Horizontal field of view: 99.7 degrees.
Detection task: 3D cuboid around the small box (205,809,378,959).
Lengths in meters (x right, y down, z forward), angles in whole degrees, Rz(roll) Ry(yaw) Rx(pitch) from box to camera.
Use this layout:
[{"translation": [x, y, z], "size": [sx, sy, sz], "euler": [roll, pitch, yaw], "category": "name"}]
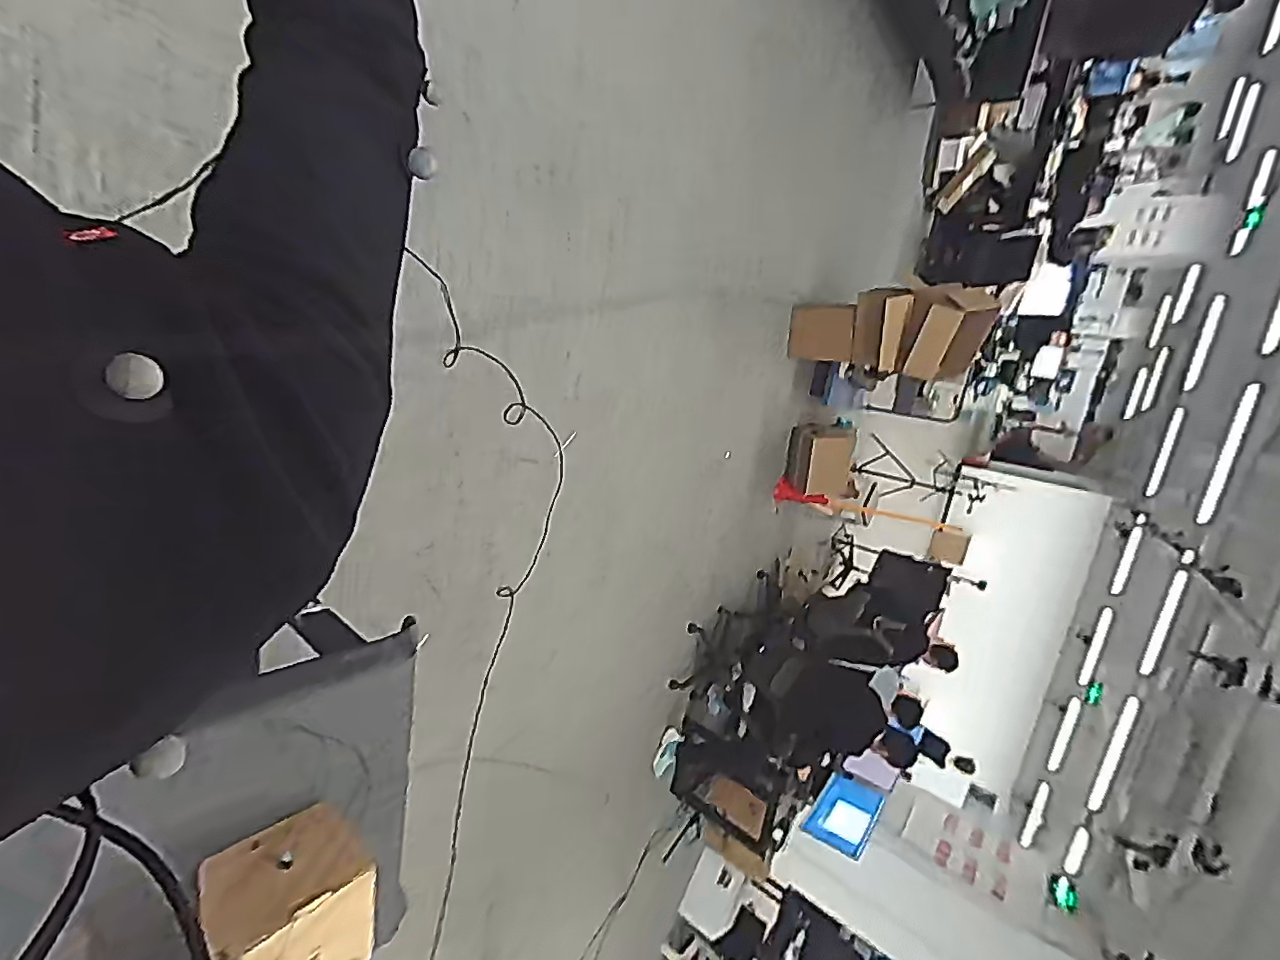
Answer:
[{"translation": [-0.500, 0.615, 0.776], "size": [0.168, 0.176, 0.179], "euler": [-8, 110, -51], "category": "small box"}]
